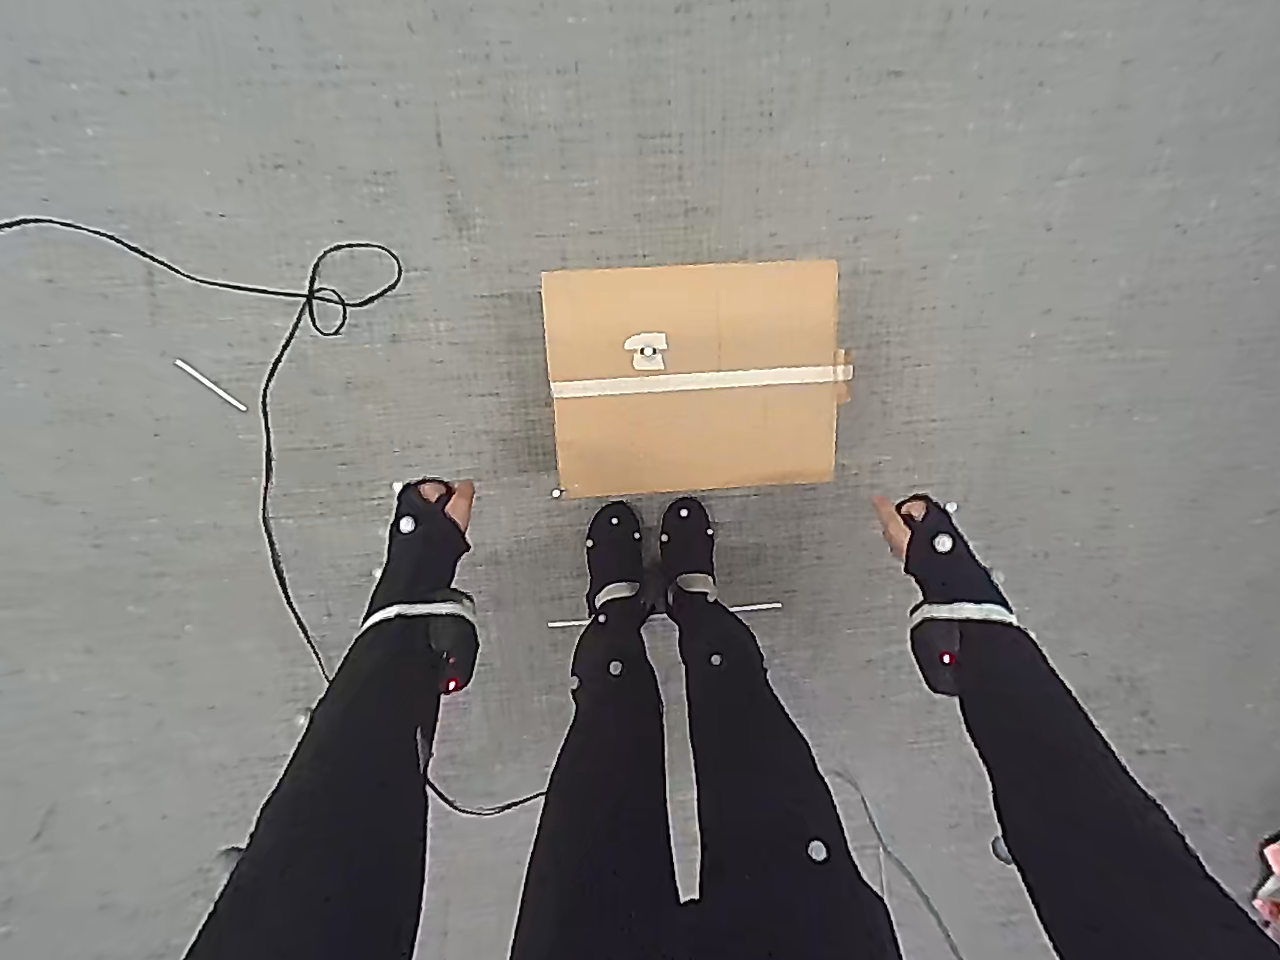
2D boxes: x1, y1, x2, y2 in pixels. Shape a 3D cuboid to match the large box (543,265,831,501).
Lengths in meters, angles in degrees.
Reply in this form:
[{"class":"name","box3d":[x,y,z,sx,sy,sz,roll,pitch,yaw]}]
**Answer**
[{"class":"large box","box3d":[0.070,-0.164,0.913,0.408,0.320,0.320,-3,102,-2]}]
